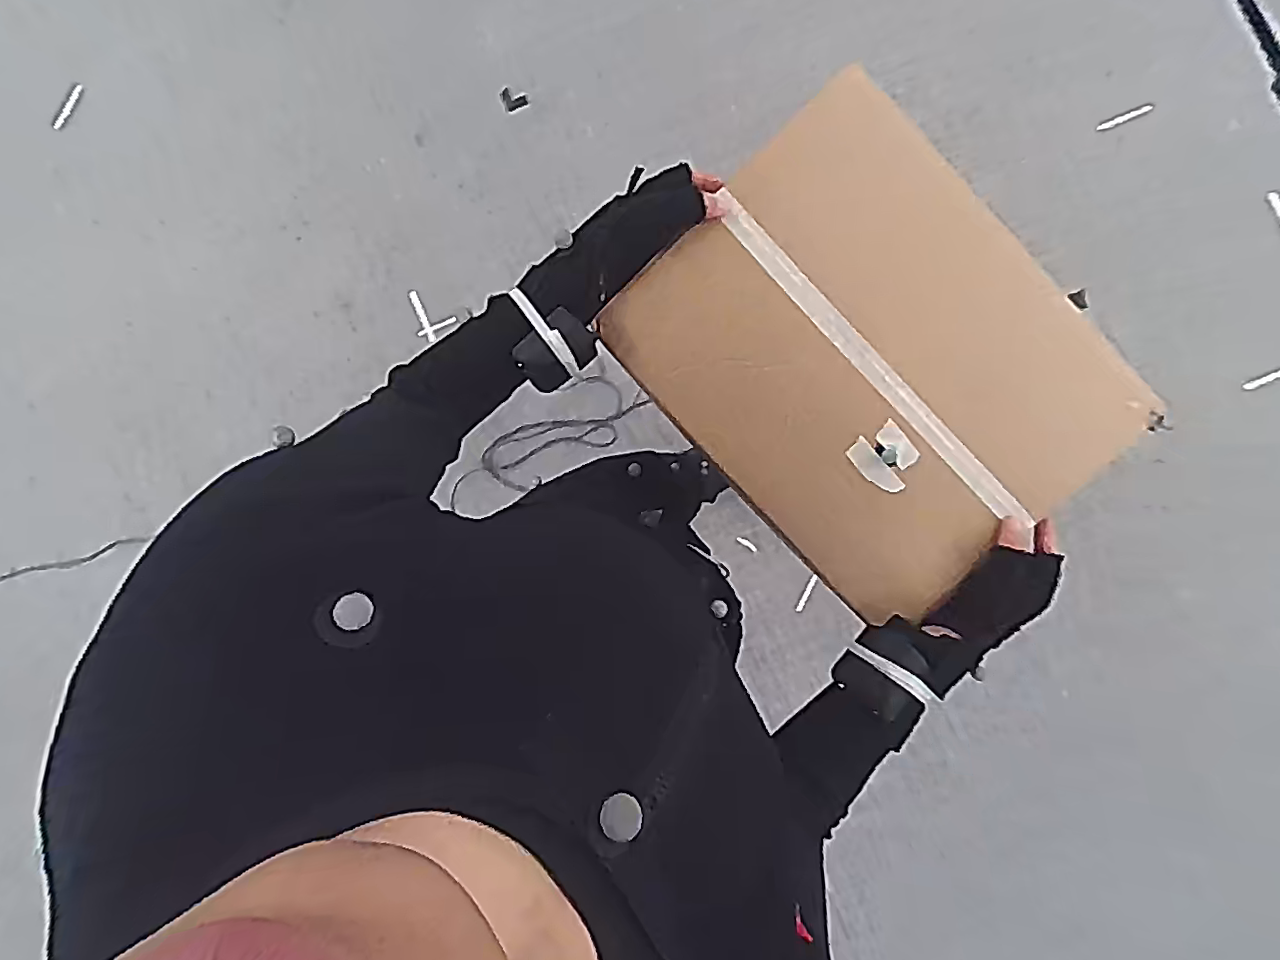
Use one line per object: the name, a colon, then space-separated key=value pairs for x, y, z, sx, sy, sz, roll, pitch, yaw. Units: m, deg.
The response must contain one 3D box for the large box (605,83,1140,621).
large box: x=0.213 y=-0.121 z=0.641 sx=0.320 sy=0.320 sz=0.408 roll=-43 pitch=93 yaw=6
